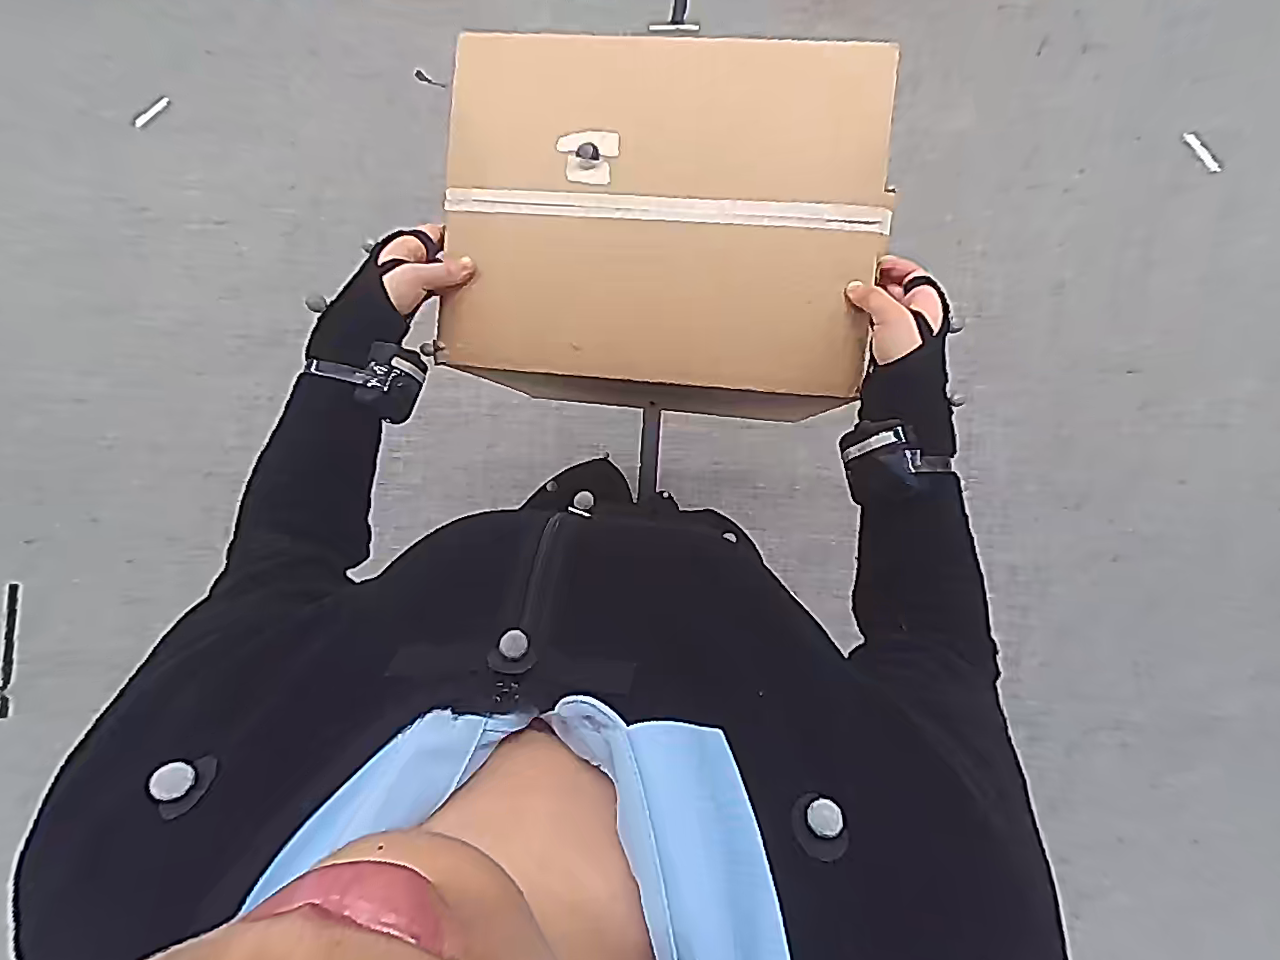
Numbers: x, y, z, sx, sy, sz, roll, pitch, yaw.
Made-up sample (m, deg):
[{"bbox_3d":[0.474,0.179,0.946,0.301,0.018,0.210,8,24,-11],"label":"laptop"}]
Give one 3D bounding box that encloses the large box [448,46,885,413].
[{"bbox_3d":[0.034,-0.256,0.660,0.408,0.320,0.320,5,91,7],"label":"large box"}]
